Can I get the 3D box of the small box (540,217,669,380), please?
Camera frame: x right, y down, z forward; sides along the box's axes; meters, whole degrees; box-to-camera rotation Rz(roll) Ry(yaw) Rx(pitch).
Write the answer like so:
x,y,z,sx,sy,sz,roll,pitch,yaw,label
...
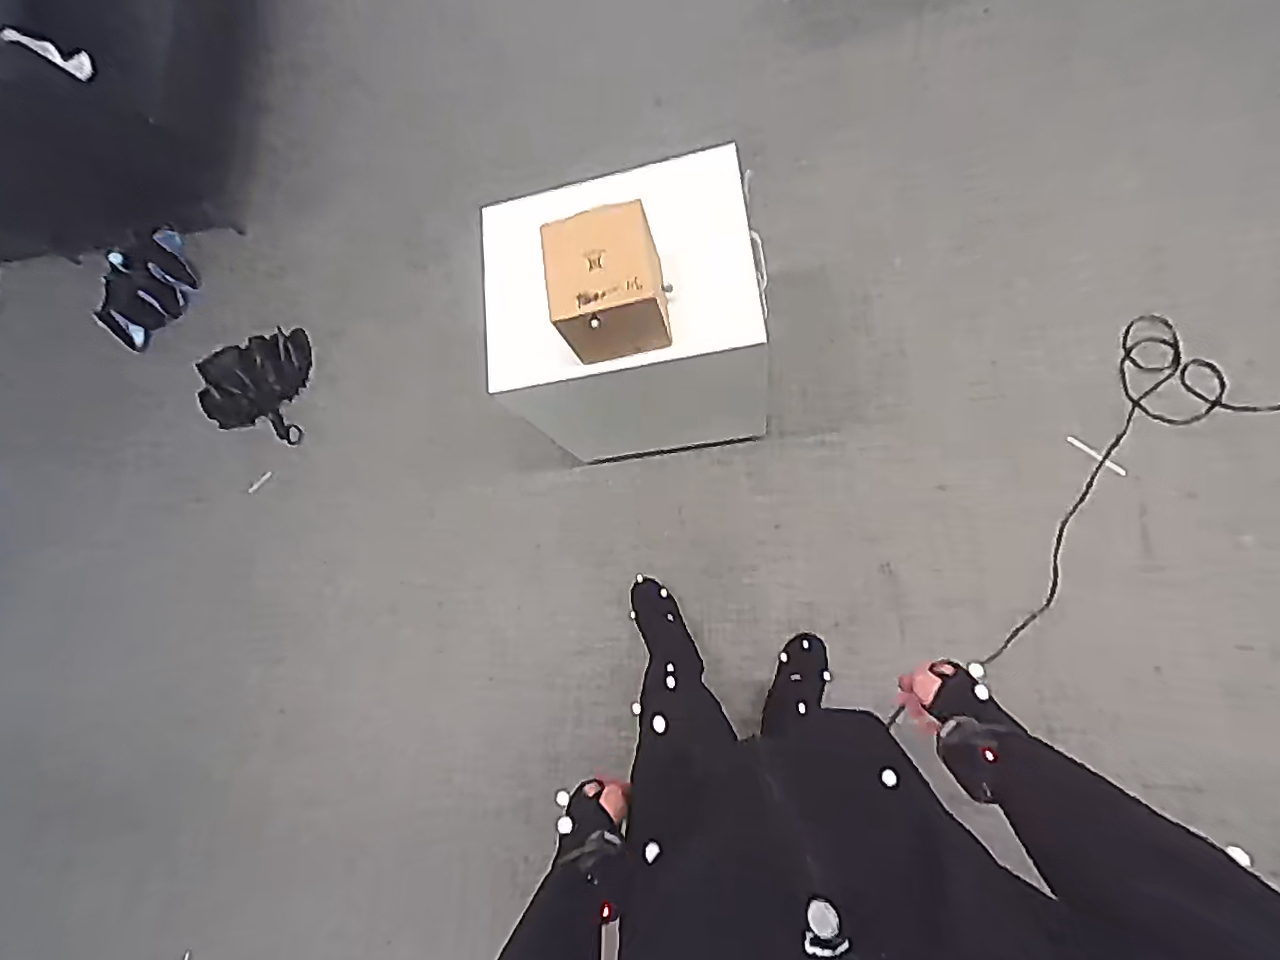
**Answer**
x,y,z,sx,sy,sz,roll,pitch,yaw,label
-0.054,-0.292,0.902,0.168,0.176,0.179,-11,74,10,small box
